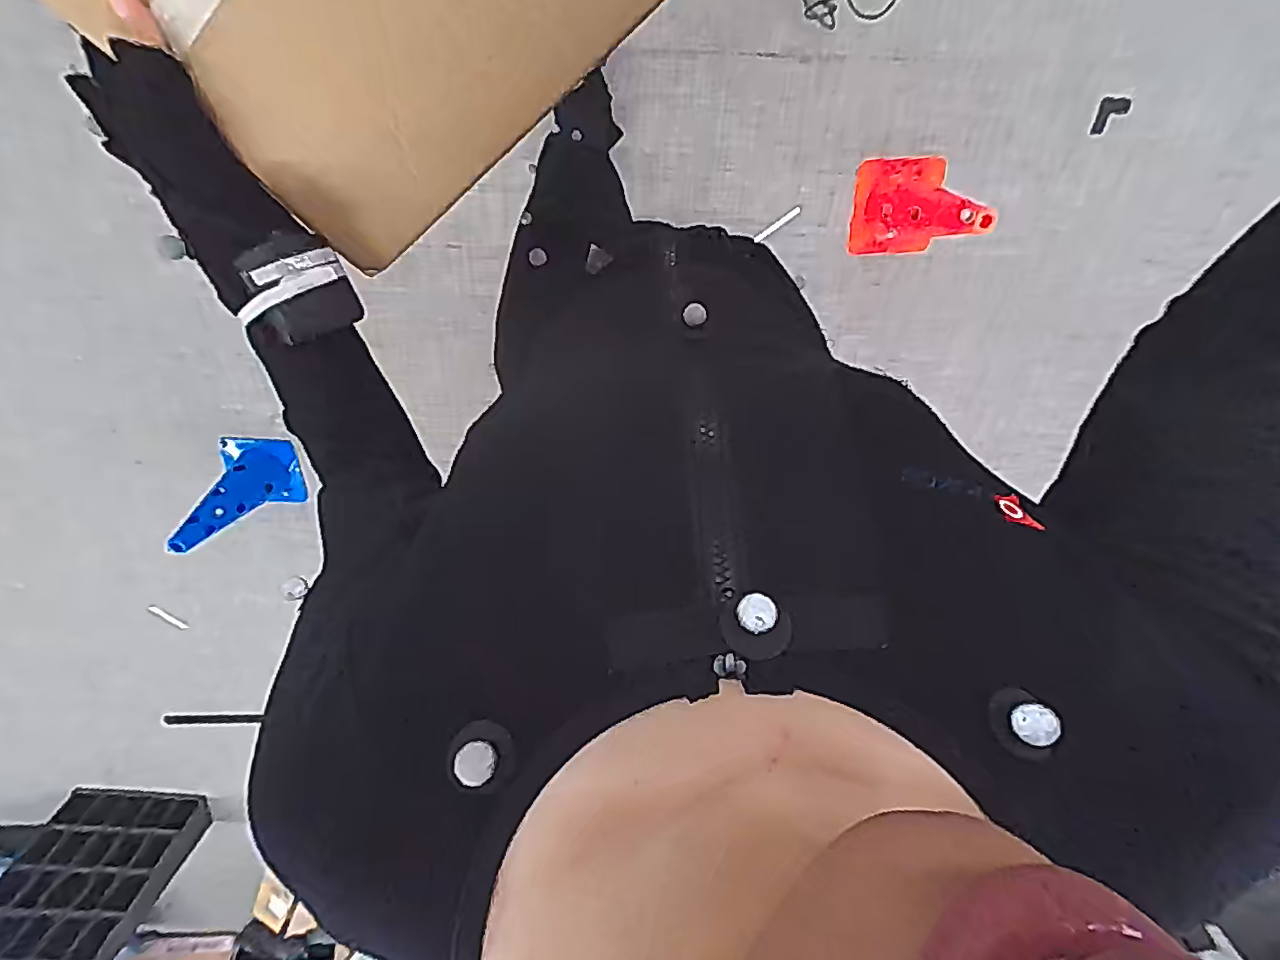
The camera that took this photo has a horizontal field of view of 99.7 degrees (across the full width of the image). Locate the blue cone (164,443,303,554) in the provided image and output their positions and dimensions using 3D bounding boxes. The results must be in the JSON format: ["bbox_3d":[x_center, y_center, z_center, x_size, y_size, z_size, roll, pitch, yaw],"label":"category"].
[{"bbox_3d":[-1.059,0.063,1.389,0.192,0.380,0.193,4,120,-4],"label":"blue cone"}]

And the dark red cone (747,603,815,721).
[{"bbox_3d":[0.489,0.588,1.735,0.201,0.394,0.202,6,120,-5],"label":"dark red cone"}]

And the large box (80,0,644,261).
[{"bbox_3d":[-0.147,-0.442,0.364,0.408,0.320,0.320,-31,128,21],"label":"large box"}]

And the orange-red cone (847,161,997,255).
[{"bbox_3d":[0.600,-0.546,1.108,0.198,0.360,0.199,-2,119,-3],"label":"orange-red cone"}]
